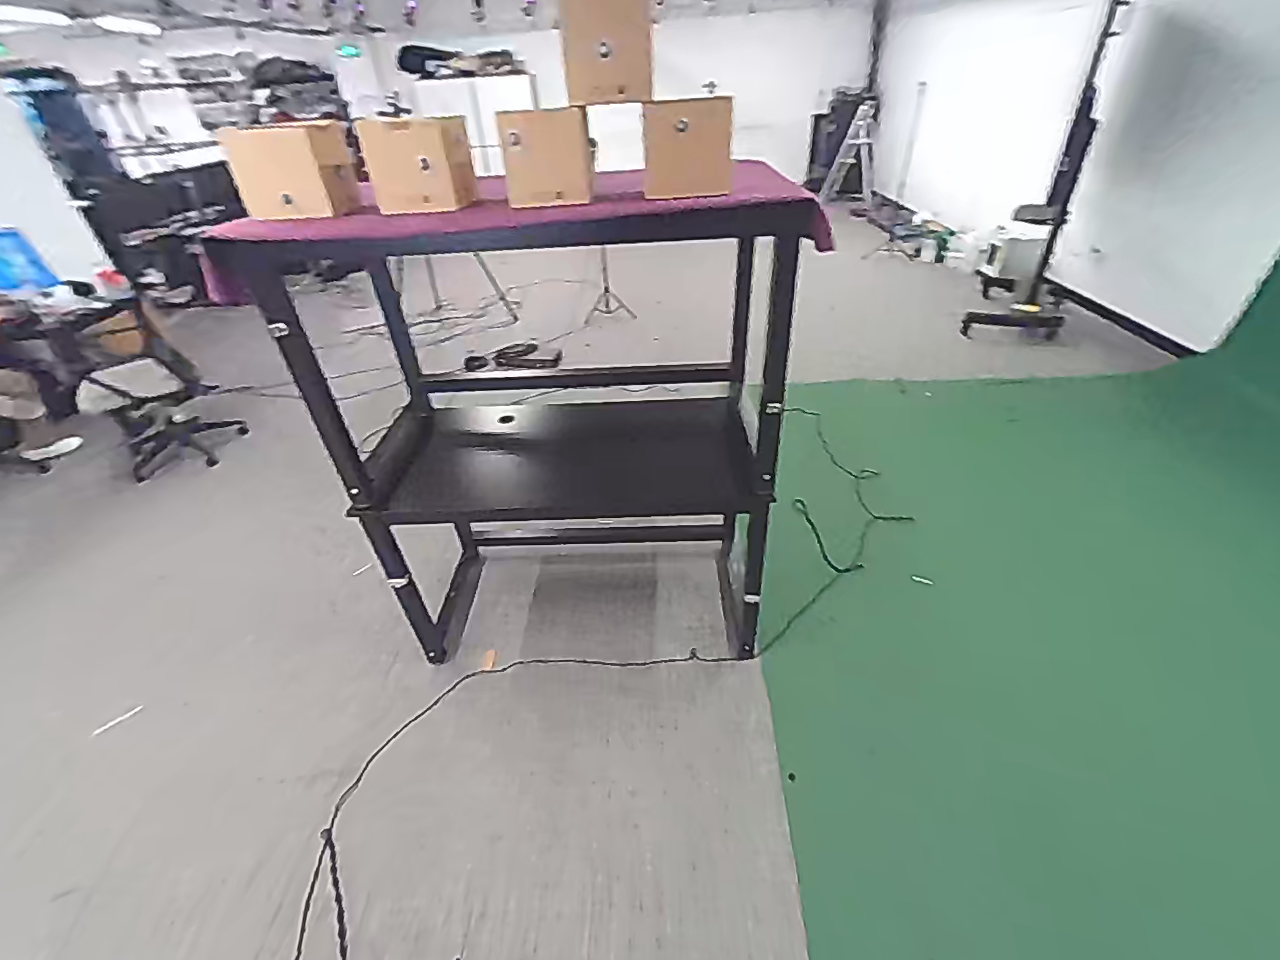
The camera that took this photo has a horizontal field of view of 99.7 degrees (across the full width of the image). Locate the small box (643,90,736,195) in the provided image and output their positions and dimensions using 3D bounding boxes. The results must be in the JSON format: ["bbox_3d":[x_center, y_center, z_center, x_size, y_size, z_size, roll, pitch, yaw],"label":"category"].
[{"bbox_3d":[0.101,-0.694,1.117,0.179,0.176,0.168,-1,35,3],"label":"small box"}]

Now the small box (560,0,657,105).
[{"bbox_3d":[-0.052,-0.826,1.033,0.168,0.176,0.179,-2,34,2],"label":"small box"}]

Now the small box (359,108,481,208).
[{"bbox_3d":[-0.451,-0.678,1.144,0.168,0.176,0.179,0,35,4],"label":"small box"}]

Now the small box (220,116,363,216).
[{"bbox_3d":[-0.724,-0.669,1.151,0.179,0.176,0.168,-2,35,0],"label":"small box"}]
